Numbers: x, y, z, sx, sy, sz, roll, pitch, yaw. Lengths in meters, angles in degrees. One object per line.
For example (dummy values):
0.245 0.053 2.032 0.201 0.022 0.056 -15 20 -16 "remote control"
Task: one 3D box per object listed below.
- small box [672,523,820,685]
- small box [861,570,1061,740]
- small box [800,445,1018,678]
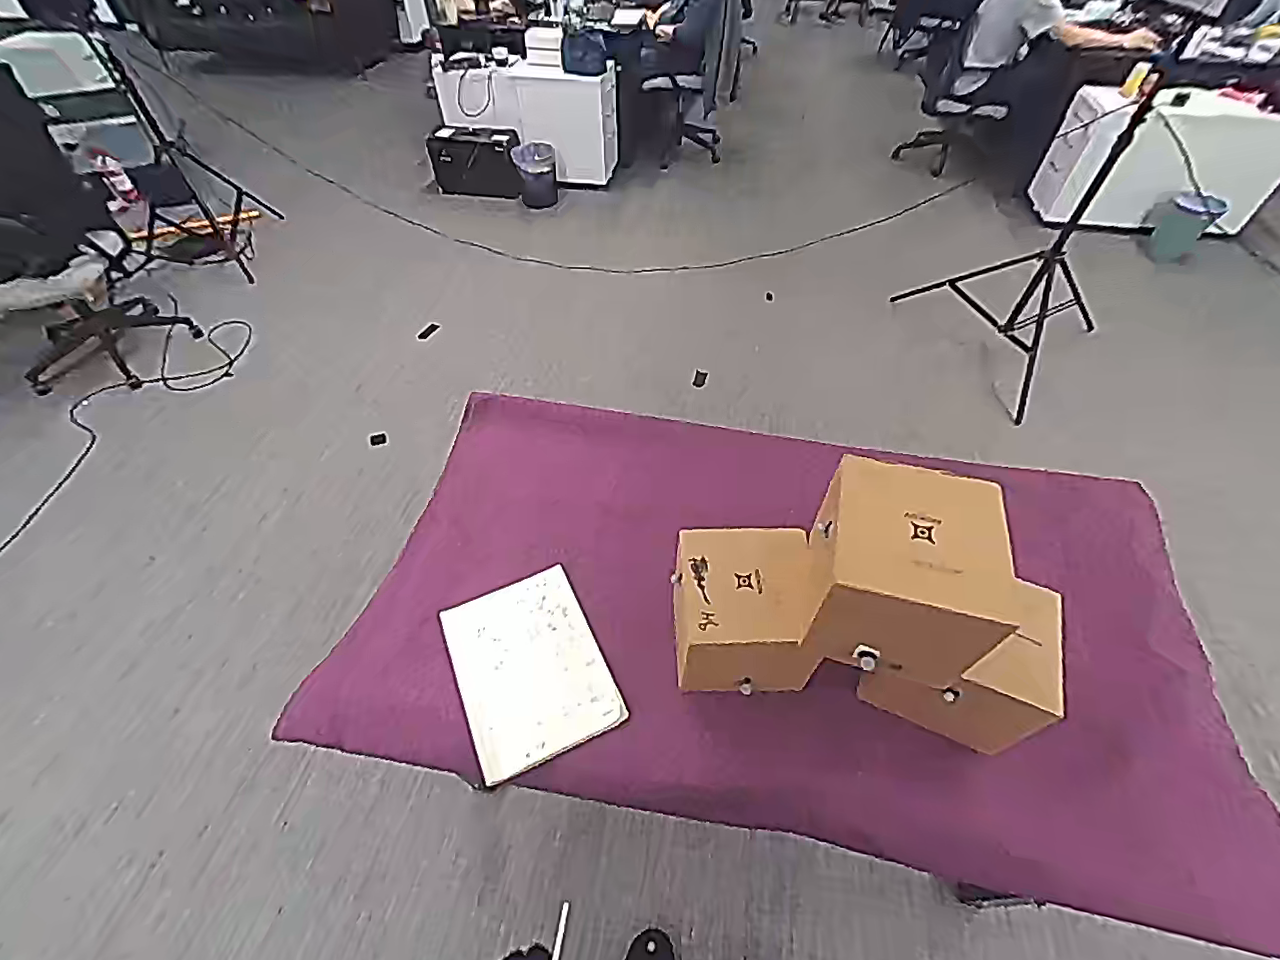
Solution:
0.140 0.175 0.752 0.179 0.176 0.168 0 49 -1 "small box"
0.413 0.214 0.714 0.179 0.176 0.168 20 53 17 "small box"
0.283 0.092 0.607 0.168 0.176 0.179 11 51 12 "small box"
